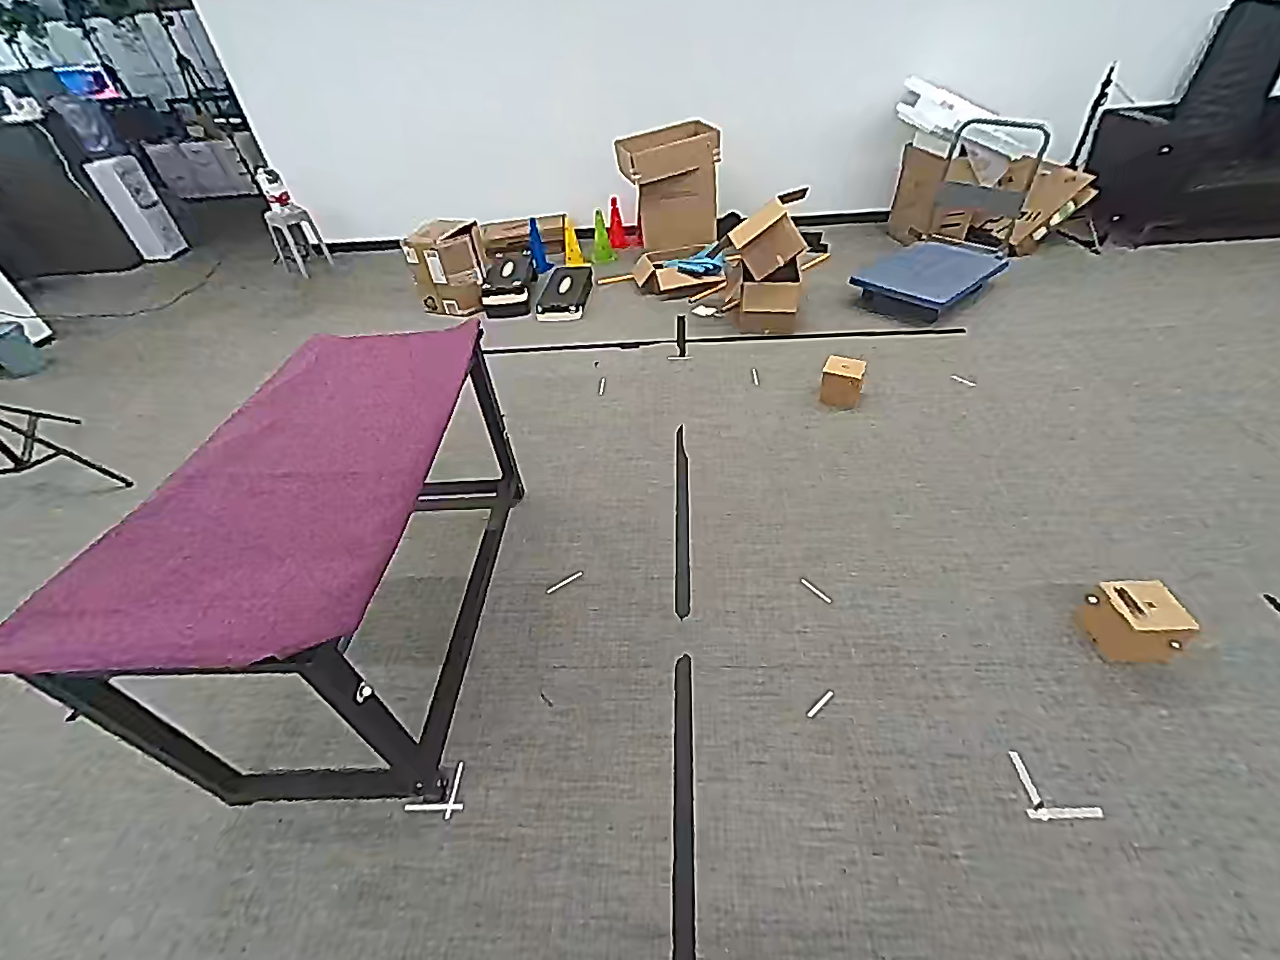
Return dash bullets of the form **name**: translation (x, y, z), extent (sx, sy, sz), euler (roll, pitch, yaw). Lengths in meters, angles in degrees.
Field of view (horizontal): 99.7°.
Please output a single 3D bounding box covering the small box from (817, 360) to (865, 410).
- **small box**: translation (0.964, -0.455, 2.603), extent (0.179, 0.176, 0.168), euler (16, 45, 22)
